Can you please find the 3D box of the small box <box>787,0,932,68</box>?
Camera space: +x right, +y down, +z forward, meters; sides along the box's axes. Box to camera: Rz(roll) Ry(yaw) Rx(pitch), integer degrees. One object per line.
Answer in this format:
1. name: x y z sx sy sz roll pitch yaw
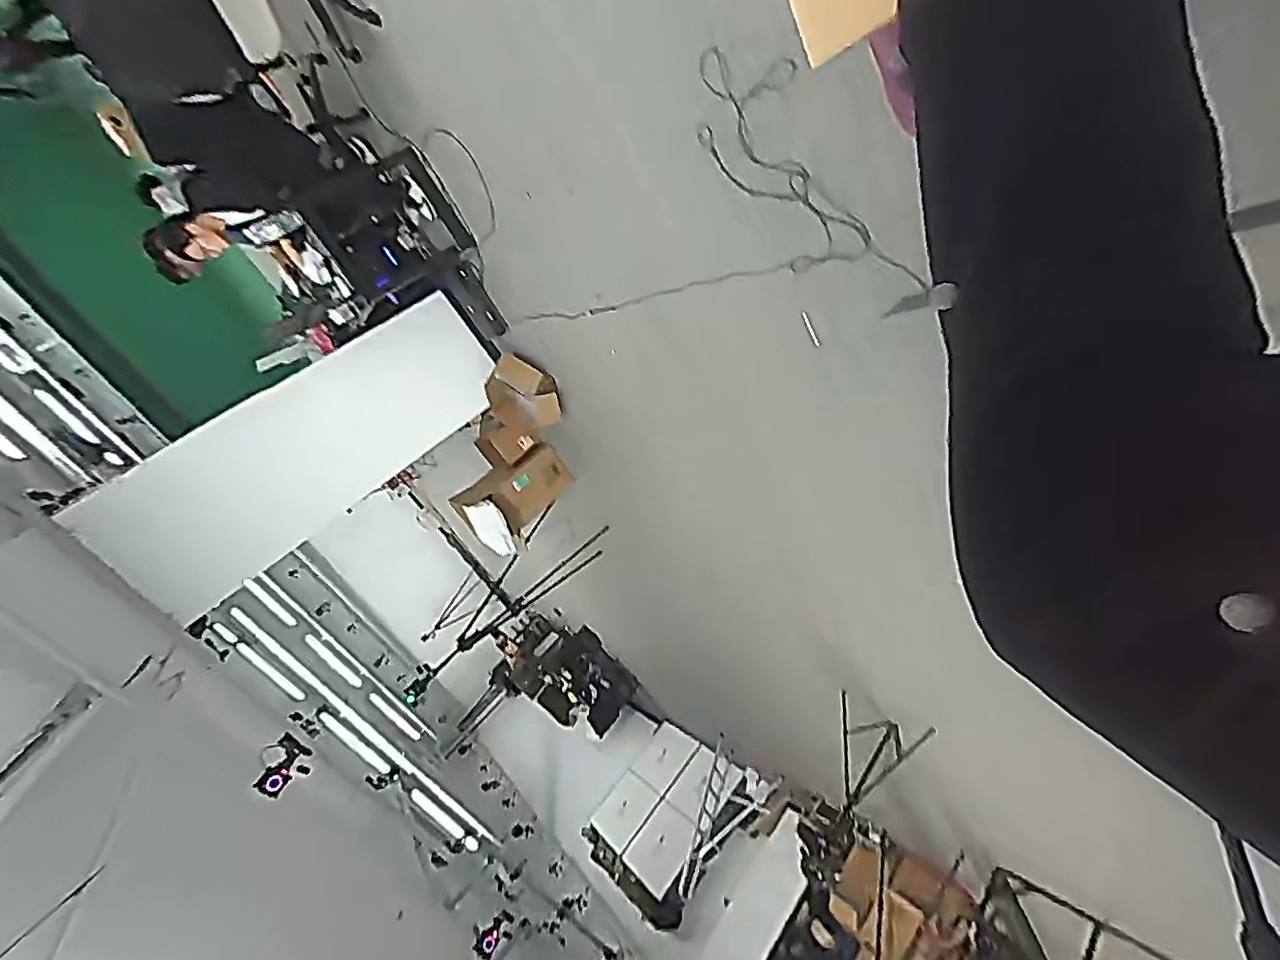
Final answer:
1. small box: 0.262 -0.584 0.564 0.179 0.176 0.168 3 131 54
